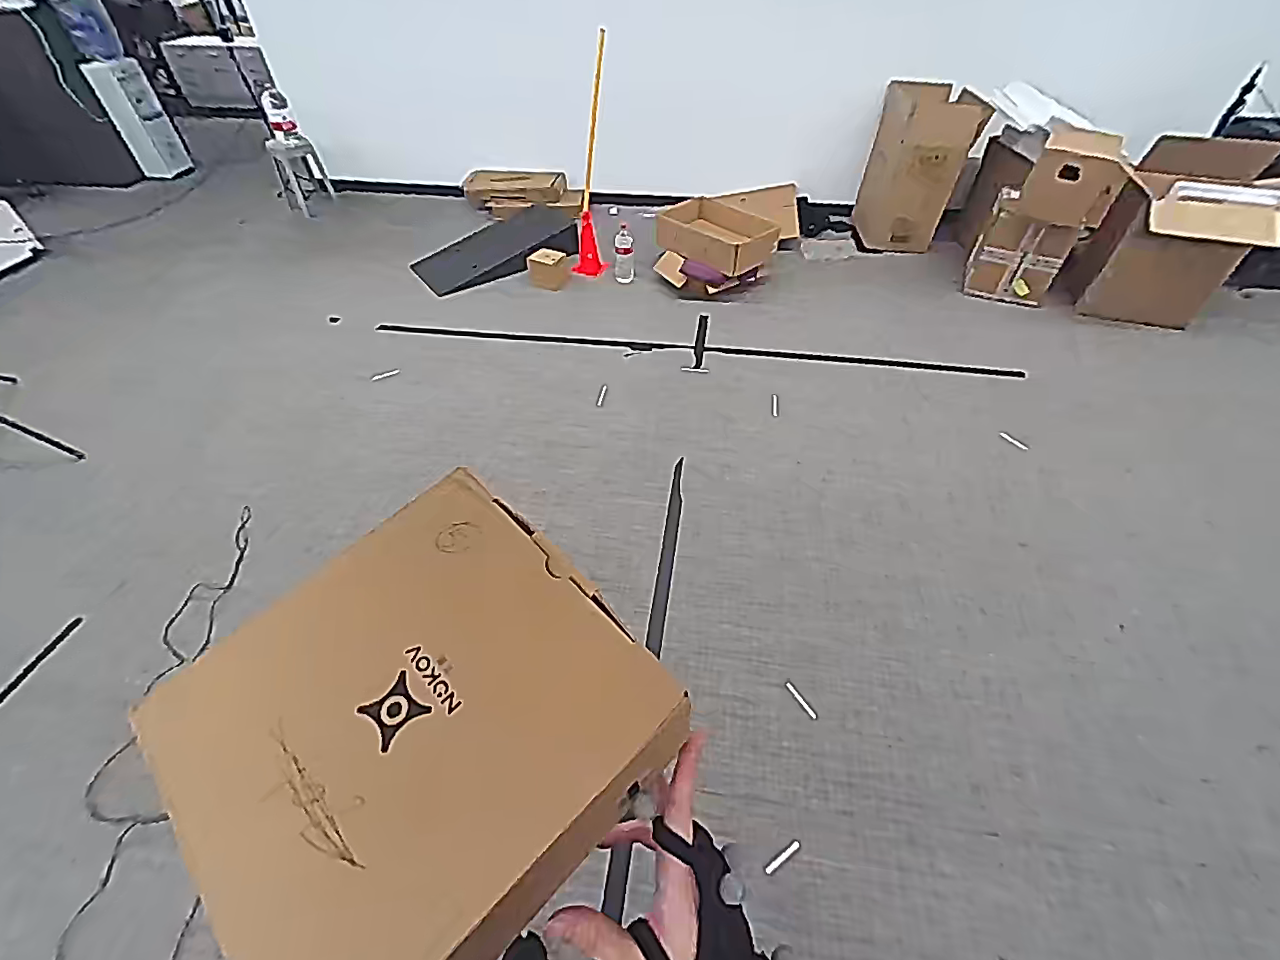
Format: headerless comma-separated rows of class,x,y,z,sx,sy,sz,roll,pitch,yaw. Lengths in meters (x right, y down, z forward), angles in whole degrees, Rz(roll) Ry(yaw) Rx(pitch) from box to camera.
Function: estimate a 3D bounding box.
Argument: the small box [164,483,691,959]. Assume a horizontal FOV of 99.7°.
small box,-0.089,0.141,0.303,0.168,0.176,0.179,38,70,24
